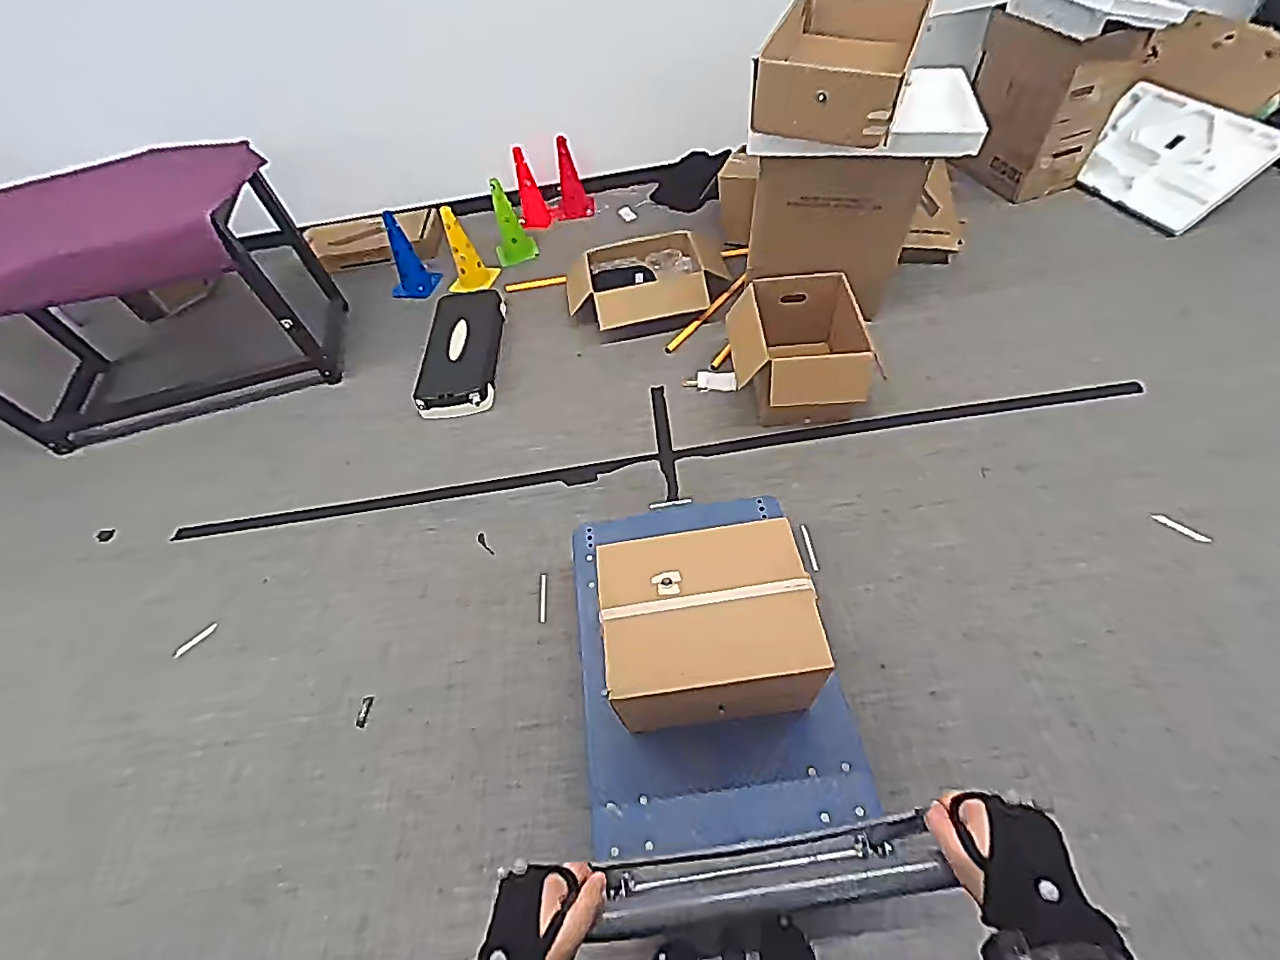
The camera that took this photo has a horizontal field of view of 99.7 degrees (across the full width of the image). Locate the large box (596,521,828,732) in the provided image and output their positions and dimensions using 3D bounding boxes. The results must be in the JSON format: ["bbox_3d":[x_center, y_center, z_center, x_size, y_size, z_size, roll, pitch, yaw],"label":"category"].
[{"bbox_3d":[0.141,0.328,1.172,0.408,0.320,0.320,-10,53,2],"label":"large box"}]
